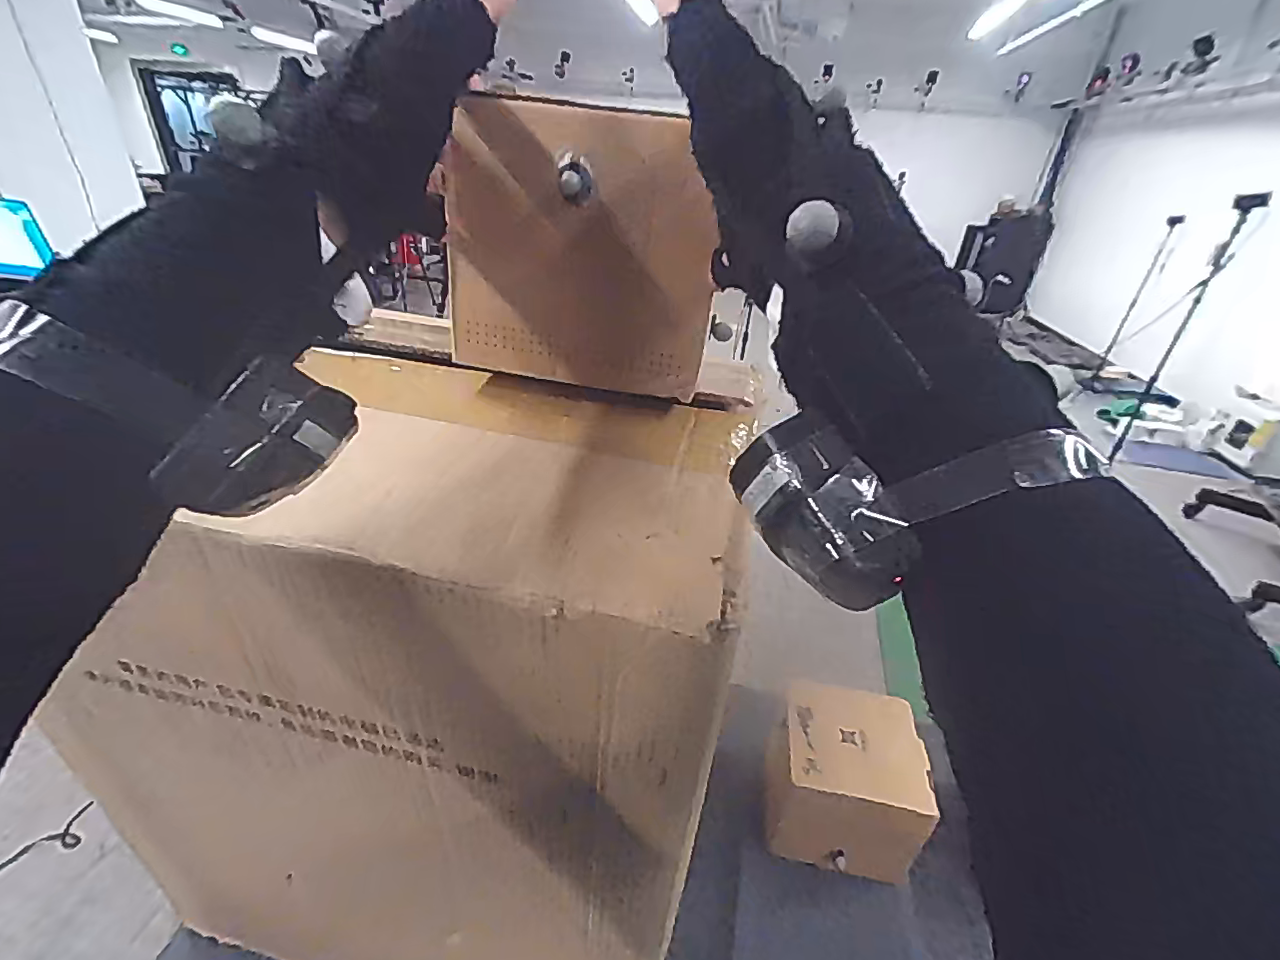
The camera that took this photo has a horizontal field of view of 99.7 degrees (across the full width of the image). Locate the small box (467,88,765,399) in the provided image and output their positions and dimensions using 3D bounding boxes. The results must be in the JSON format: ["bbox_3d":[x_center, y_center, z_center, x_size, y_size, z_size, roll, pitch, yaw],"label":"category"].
[{"bbox_3d":[-0.014,-0.175,0.411,0.179,0.176,0.168,11,32,3],"label":"small box"}]
